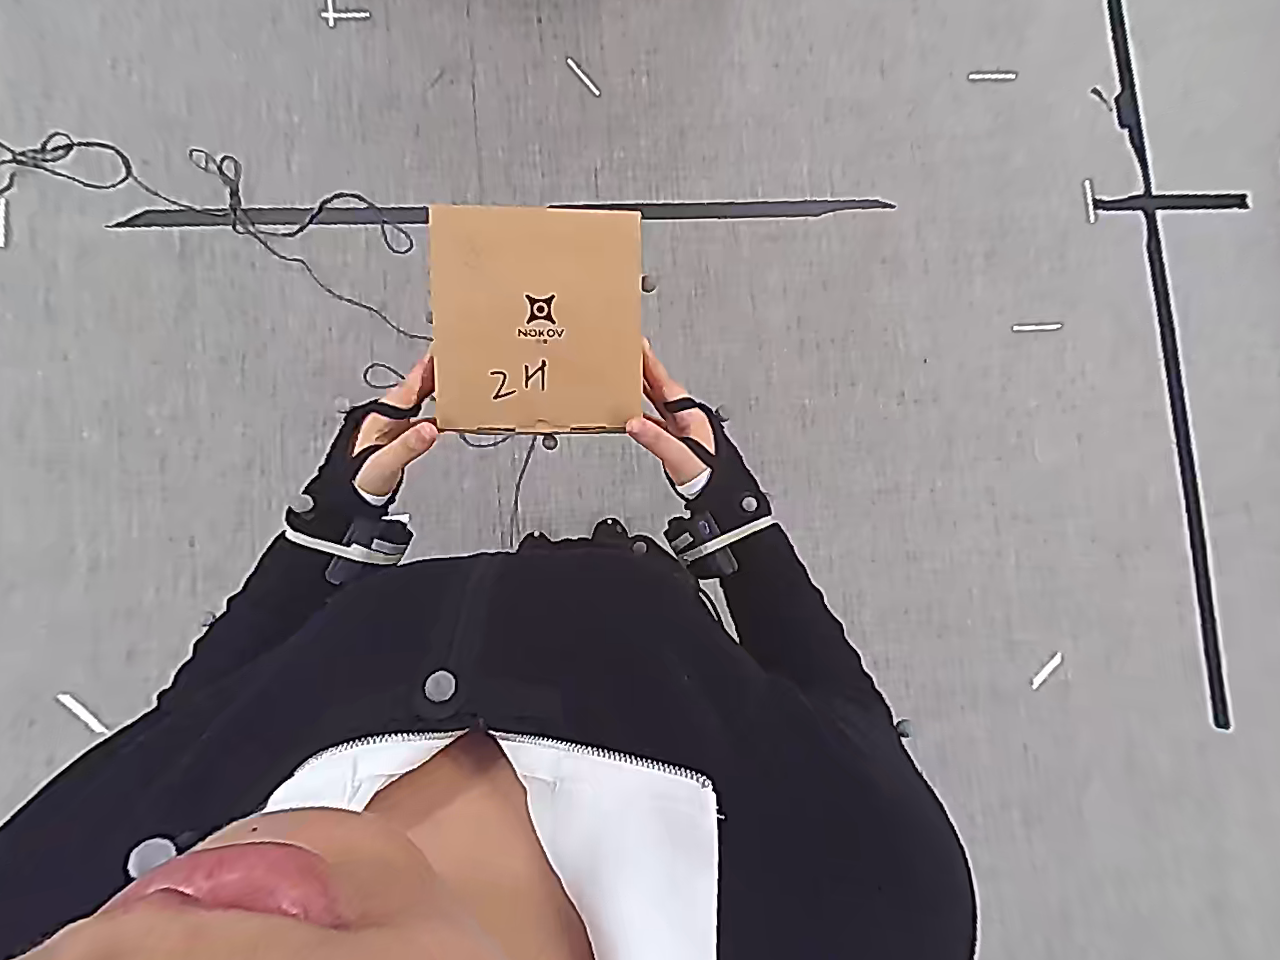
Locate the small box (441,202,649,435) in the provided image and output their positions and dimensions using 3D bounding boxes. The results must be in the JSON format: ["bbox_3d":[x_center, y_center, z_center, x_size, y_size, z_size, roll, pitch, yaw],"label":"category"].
[{"bbox_3d":[-0.082,-0.134,0.510,0.168,0.176,0.179,-1,93,-5],"label":"small box"}]
